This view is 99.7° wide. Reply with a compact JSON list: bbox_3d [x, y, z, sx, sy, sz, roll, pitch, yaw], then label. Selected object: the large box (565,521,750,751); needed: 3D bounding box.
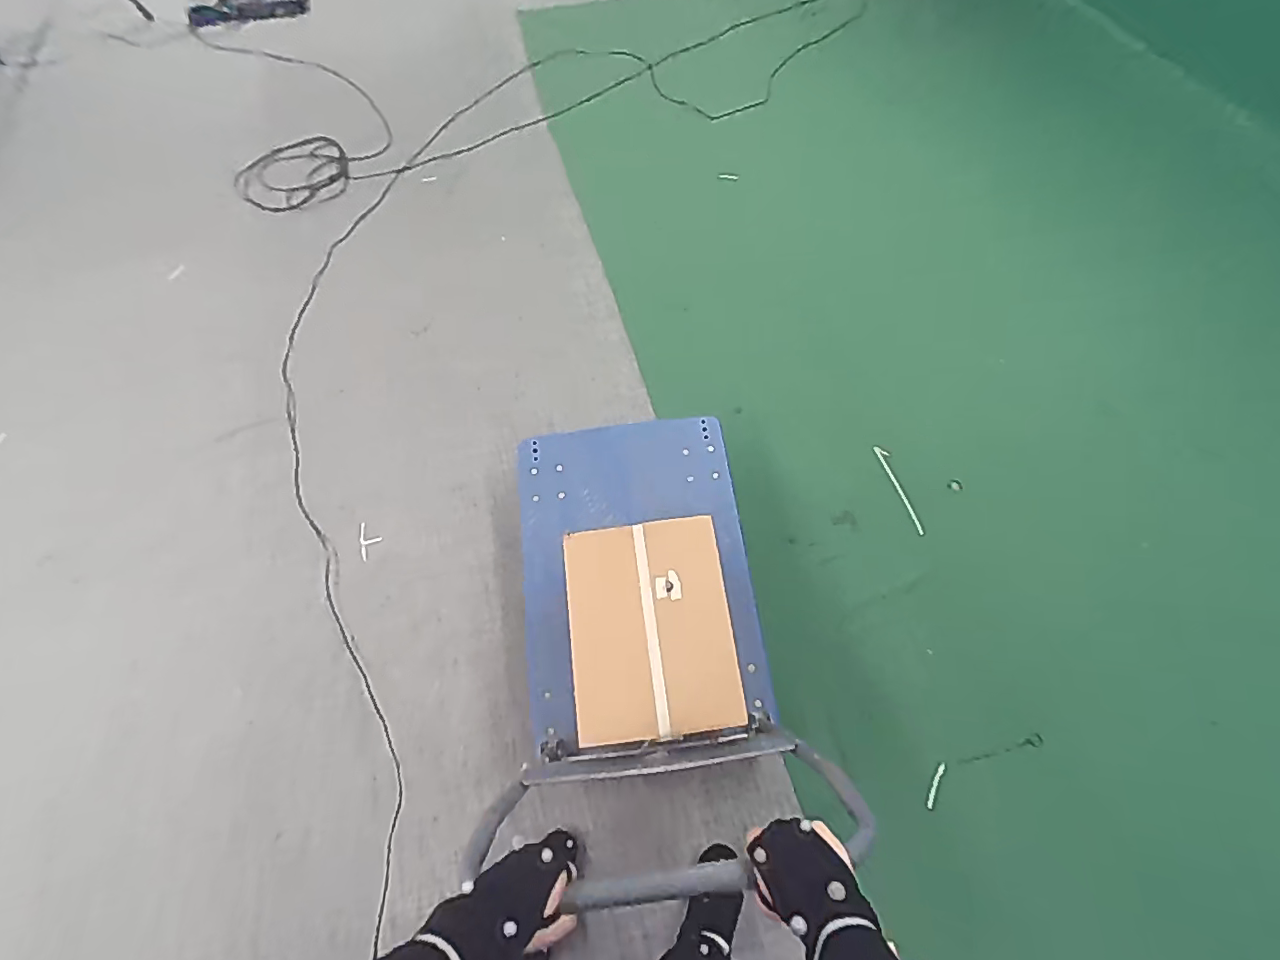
[{"bbox_3d":[0.028,0.344,1.190,0.320,0.320,0.408,-8,68,-2],"label":"large box"}]
